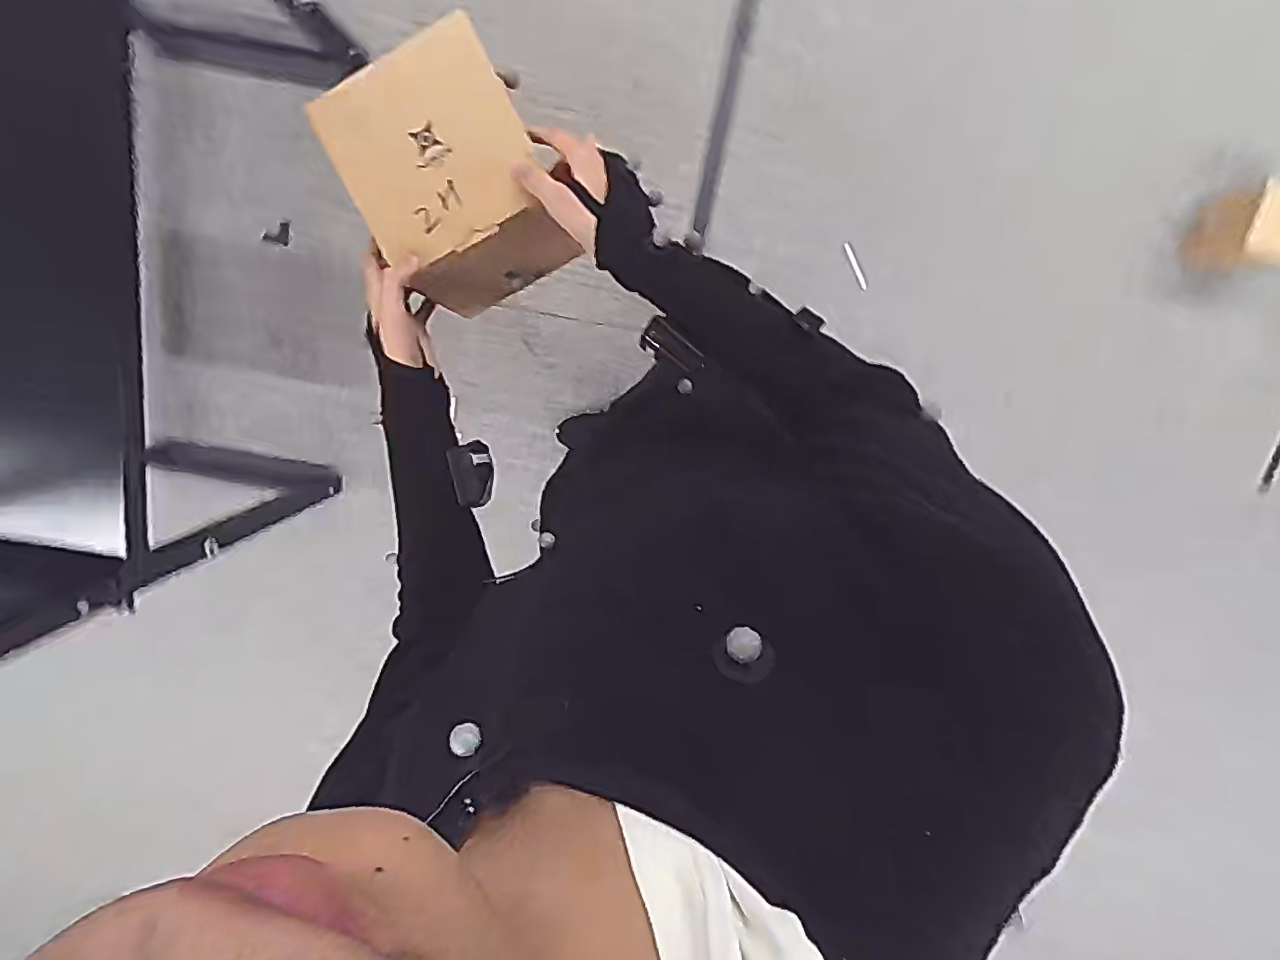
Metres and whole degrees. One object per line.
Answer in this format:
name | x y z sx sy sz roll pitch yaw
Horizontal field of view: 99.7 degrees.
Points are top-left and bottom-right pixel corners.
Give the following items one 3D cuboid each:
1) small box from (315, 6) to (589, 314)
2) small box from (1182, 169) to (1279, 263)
small box | -0.167 -0.293 0.541 0.168 0.176 0.179 -26 95 6
small box | 1.575 -0.666 1.384 0.179 0.176 0.168 10 102 -3
